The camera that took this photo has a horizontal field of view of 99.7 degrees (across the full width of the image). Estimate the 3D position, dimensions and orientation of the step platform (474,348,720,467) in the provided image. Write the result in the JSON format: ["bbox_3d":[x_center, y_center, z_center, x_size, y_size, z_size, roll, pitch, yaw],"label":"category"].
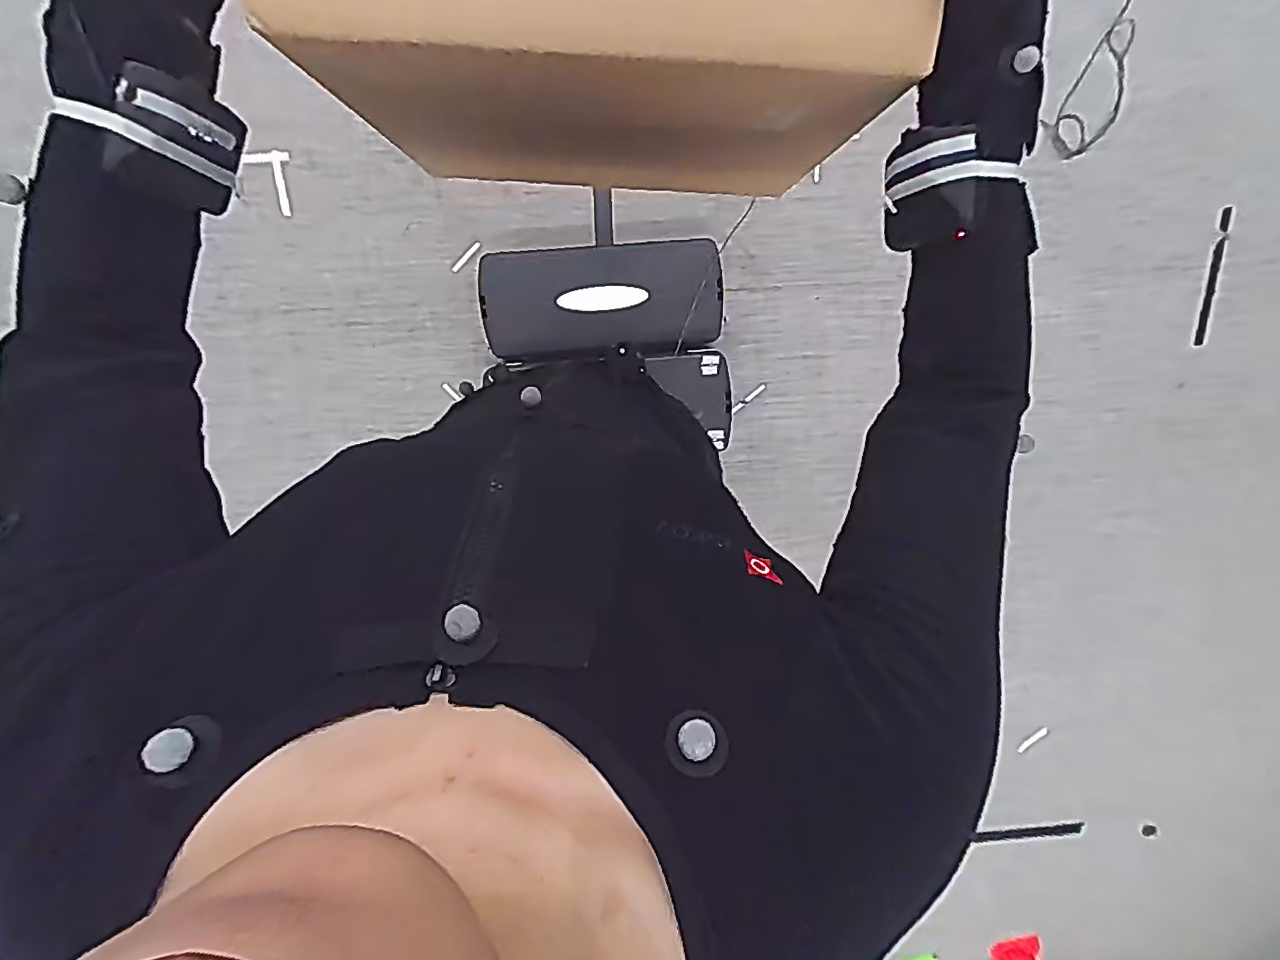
[{"bbox_3d":[-0.116,-0.207,1.539,0.684,0.204,0.286,-5,103,-1],"label":"step platform"}]

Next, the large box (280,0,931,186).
[{"bbox_3d":[-0.023,-0.451,0.439,0.408,0.320,0.320,1,106,-4],"label":"large box"}]
